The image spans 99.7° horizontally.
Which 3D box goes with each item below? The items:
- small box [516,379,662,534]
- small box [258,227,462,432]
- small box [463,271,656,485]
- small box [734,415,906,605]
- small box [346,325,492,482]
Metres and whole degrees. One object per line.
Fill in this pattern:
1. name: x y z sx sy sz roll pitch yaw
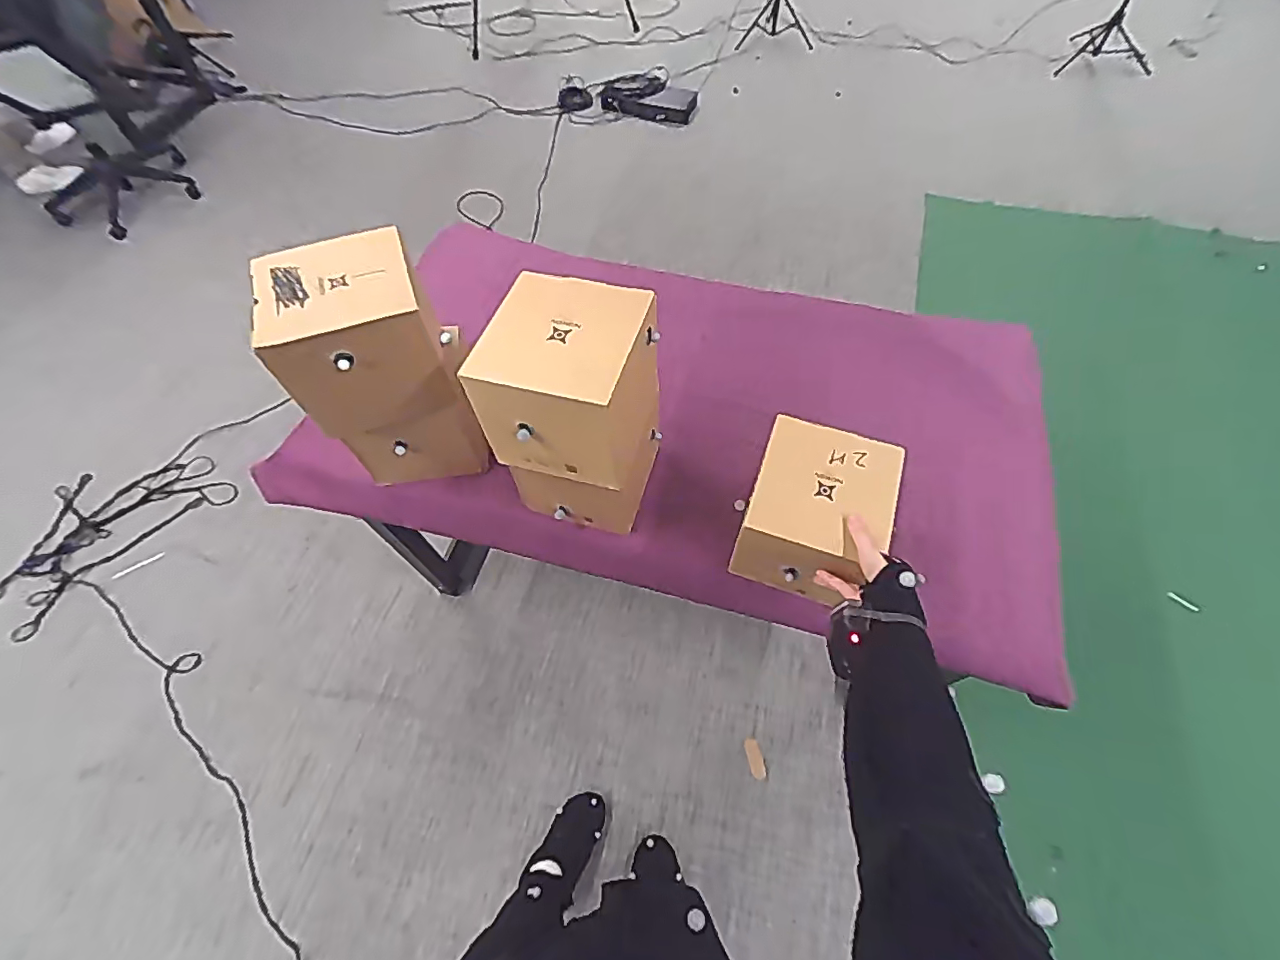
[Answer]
1. small box: -0.071 -0.046 0.798 0.168 0.176 0.179 13 60 11
2. small box: -0.350 -0.186 0.694 0.179 0.176 0.168 -18 60 -11
3. small box: -0.078 -0.117 0.651 0.168 0.176 0.179 13 58 11
4. small box: 0.232 0.047 0.730 0.168 0.176 0.179 18 63 11
5. small box: -0.341 -0.112 0.842 0.179 0.176 0.168 -8 59 -4
